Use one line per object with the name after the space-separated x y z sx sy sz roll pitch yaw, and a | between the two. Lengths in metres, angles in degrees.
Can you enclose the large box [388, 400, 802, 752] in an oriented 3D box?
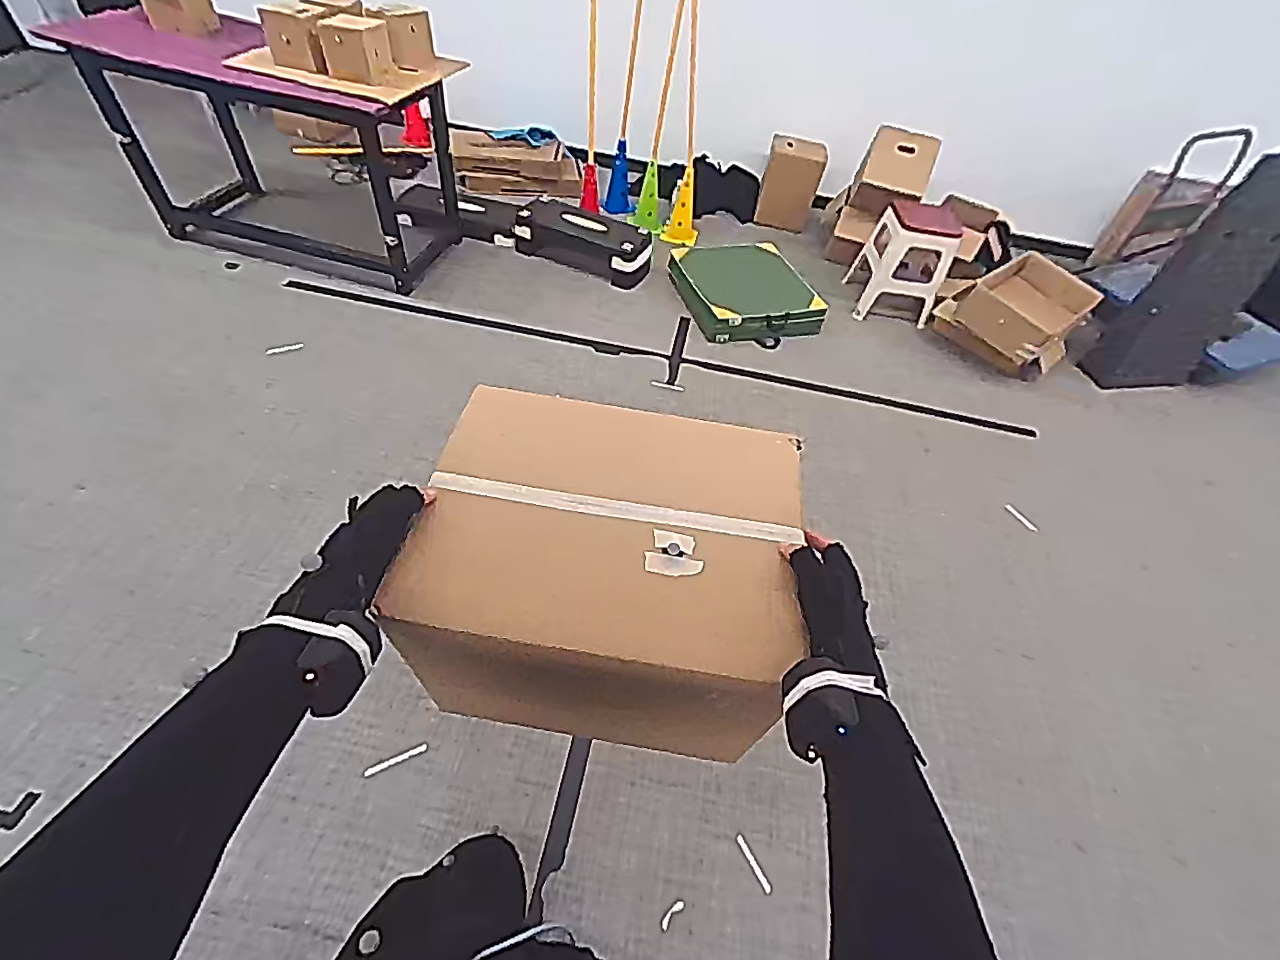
-0.040 0.134 0.713 0.408 0.320 0.320 9 52 1 | large box
